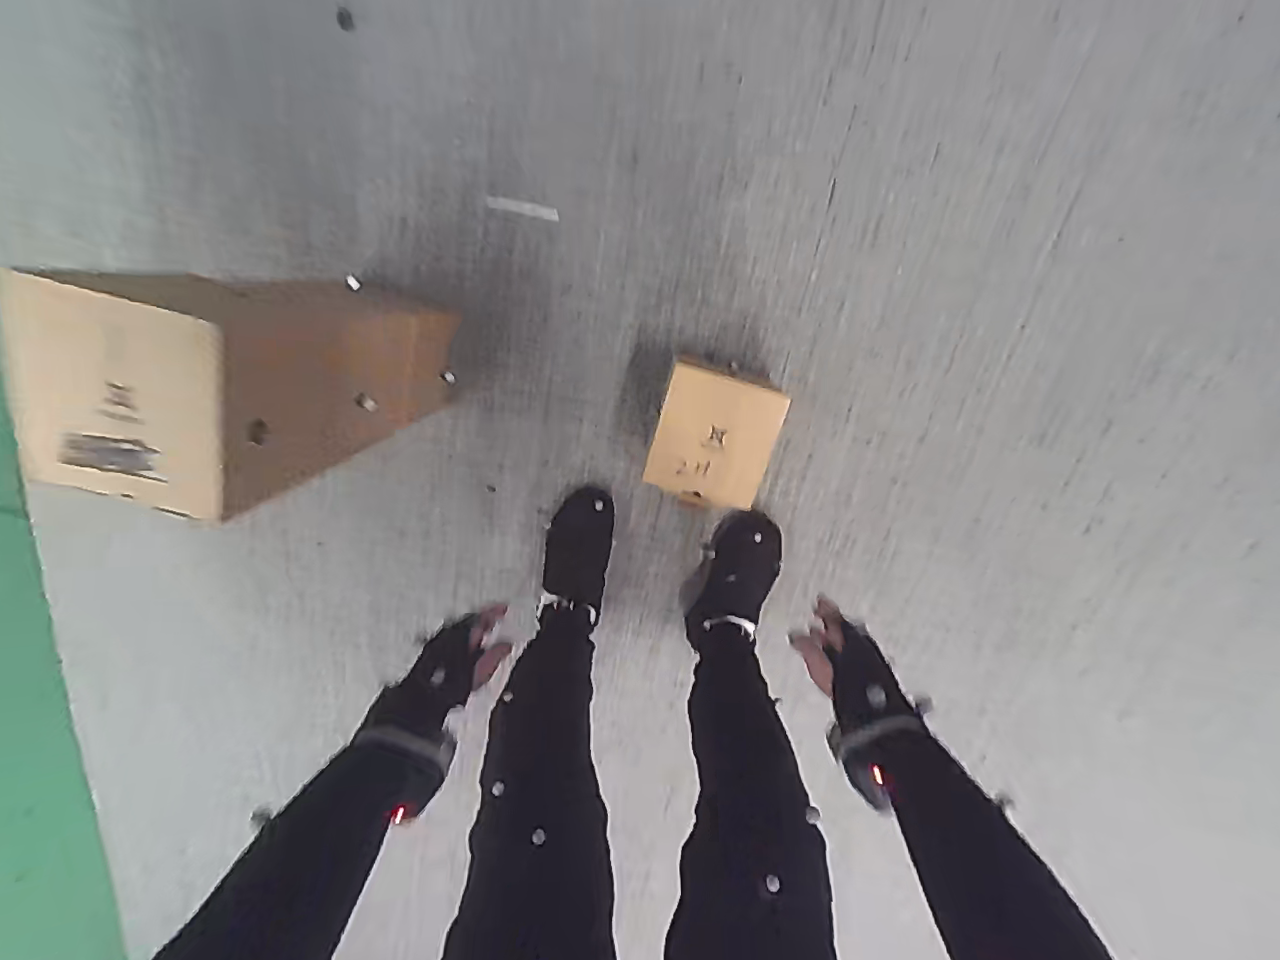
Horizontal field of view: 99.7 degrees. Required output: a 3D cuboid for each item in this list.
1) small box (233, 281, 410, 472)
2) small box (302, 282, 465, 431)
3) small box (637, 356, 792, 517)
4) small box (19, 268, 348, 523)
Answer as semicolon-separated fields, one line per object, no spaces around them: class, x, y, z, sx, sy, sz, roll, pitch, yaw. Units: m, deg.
small box;-0.406;-0.135;0.670;0.168;0.176;0.179;16;111;-2
small box;-0.391;-0.191;0.823;0.179;0.176;0.168;16;110;-3
small box;0.107;-0.077;0.829;0.168;0.176;0.179;23;110;-2
small box;-0.405;-0.087;0.512;0.168;0.176;0.179;15;109;-2
